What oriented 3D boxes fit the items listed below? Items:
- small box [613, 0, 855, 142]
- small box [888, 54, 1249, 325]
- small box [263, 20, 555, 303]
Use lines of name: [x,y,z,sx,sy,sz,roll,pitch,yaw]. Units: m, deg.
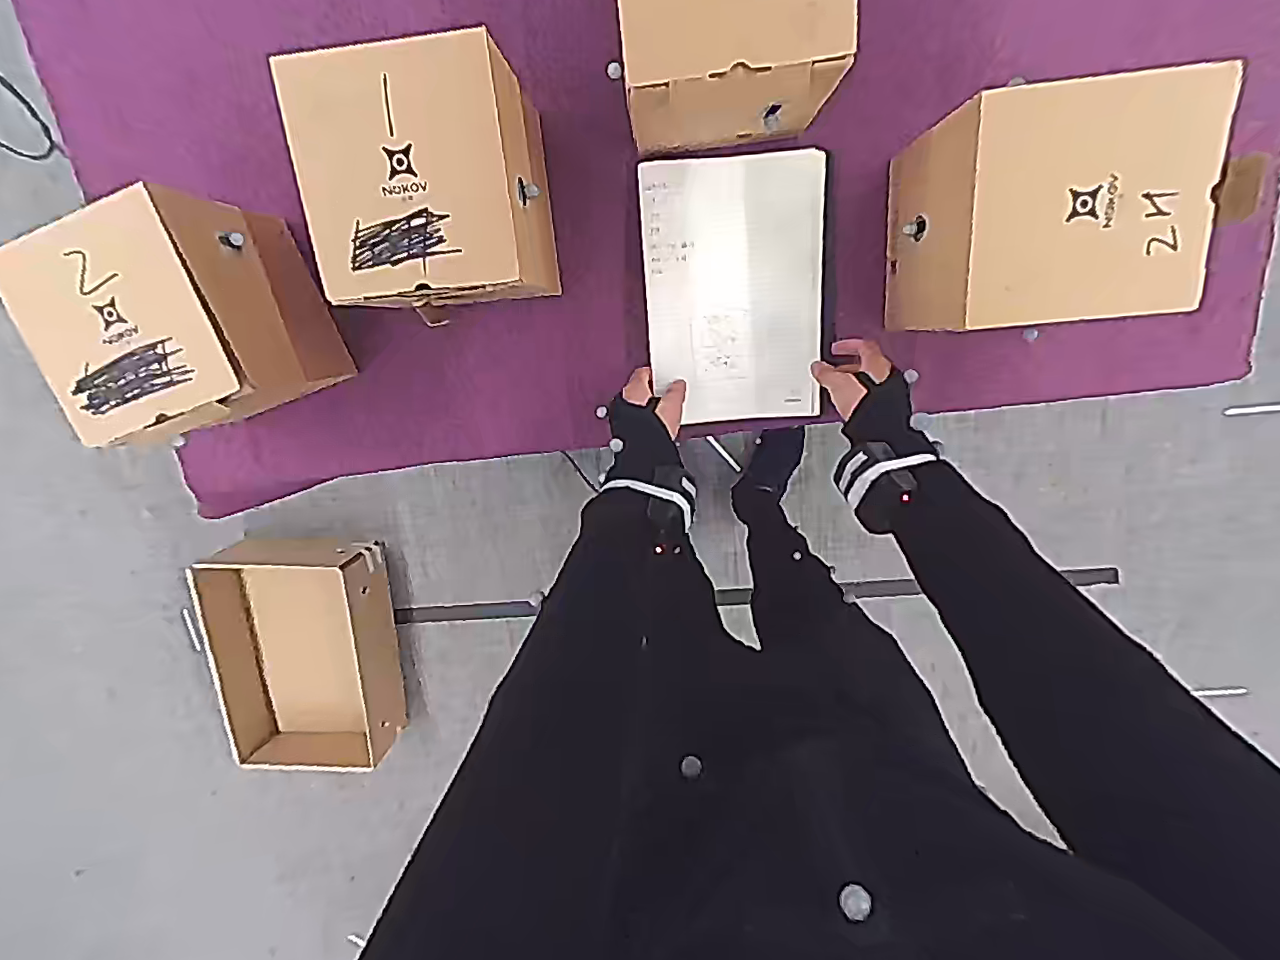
small box: [0.064,-0.393,0.433,0.168,0.176,0.179,-5,106,4]
small box: [0.333,-0.225,0.466,0.179,0.176,0.168,-4,106,4]
small box: [-0.180,-0.256,0.483,0.168,0.176,0.179,-5,105,4]
